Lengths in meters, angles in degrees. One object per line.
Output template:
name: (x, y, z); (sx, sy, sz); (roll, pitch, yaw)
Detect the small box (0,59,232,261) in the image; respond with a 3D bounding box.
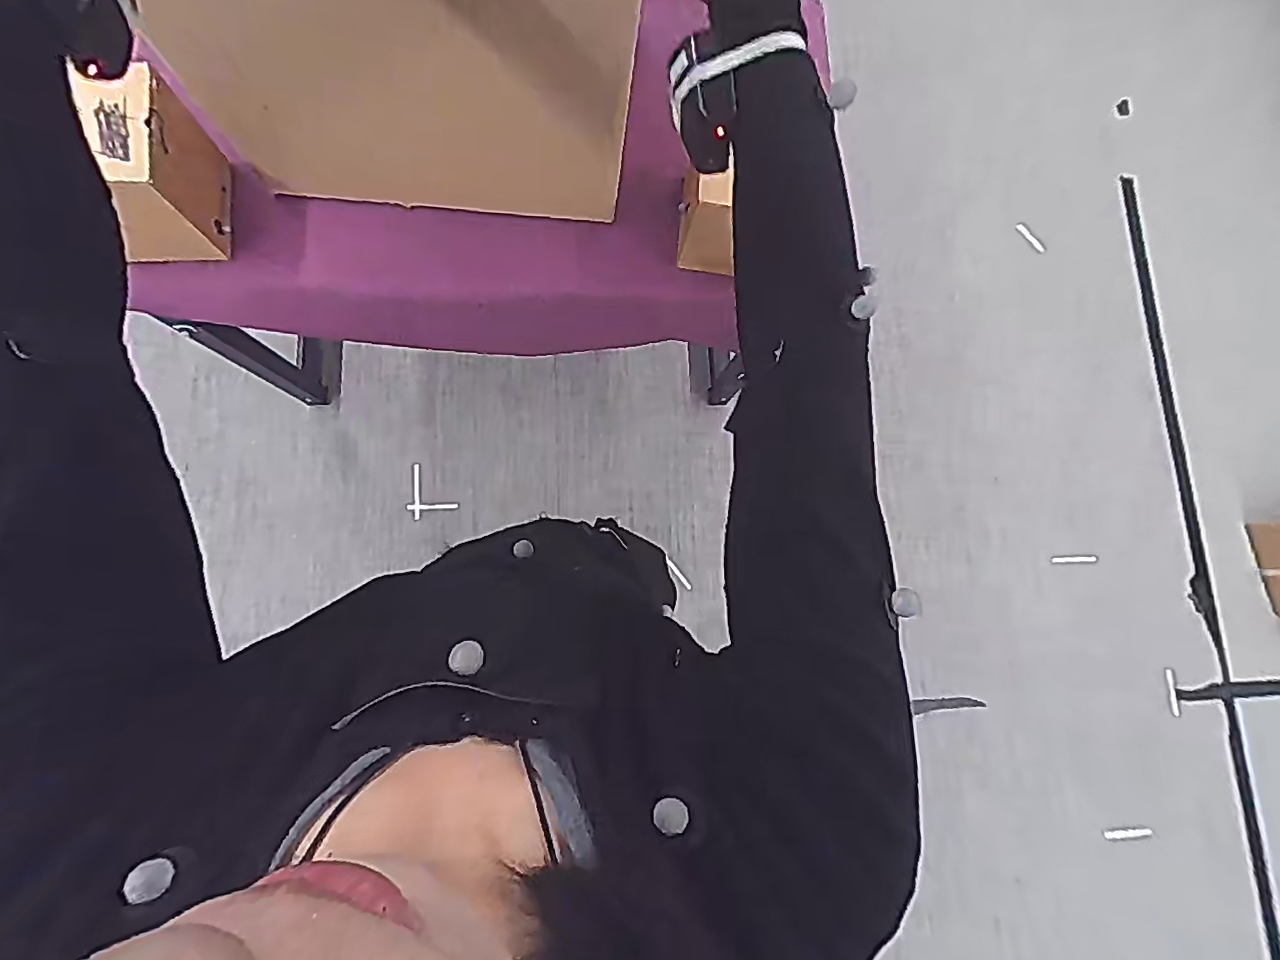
small box: (-0.683, -0.413, 0.721); (0.179, 0.176, 0.168); (-5, 81, -9)

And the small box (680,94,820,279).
small box: (0.160, -0.436, 0.831); (0.168, 0.176, 0.179); (6, 79, -6)
